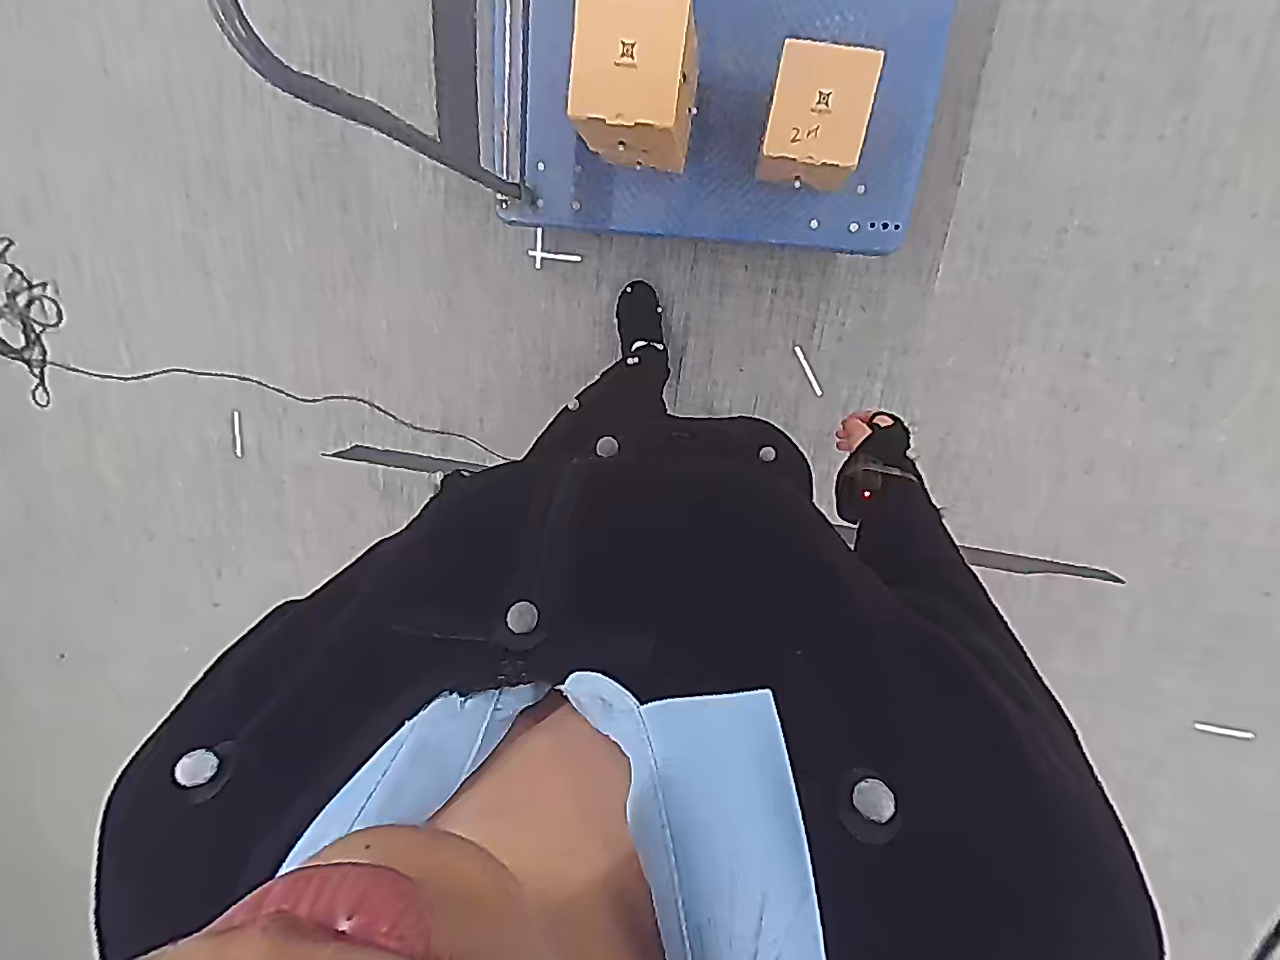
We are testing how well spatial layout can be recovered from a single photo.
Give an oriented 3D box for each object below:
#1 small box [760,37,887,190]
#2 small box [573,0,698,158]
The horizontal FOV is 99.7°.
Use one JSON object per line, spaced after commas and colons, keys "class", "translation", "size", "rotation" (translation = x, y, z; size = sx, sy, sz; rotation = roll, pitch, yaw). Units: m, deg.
{"class": "small box", "translation": [0.320, -0.654, 0.986], "size": [0.168, 0.176, 0.179], "rotation": [11, 107, 4]}
{"class": "small box", "translation": [-0.003, -0.640, 0.858], "size": [0.168, 0.176, 0.179], "rotation": [9, 108, 4]}
